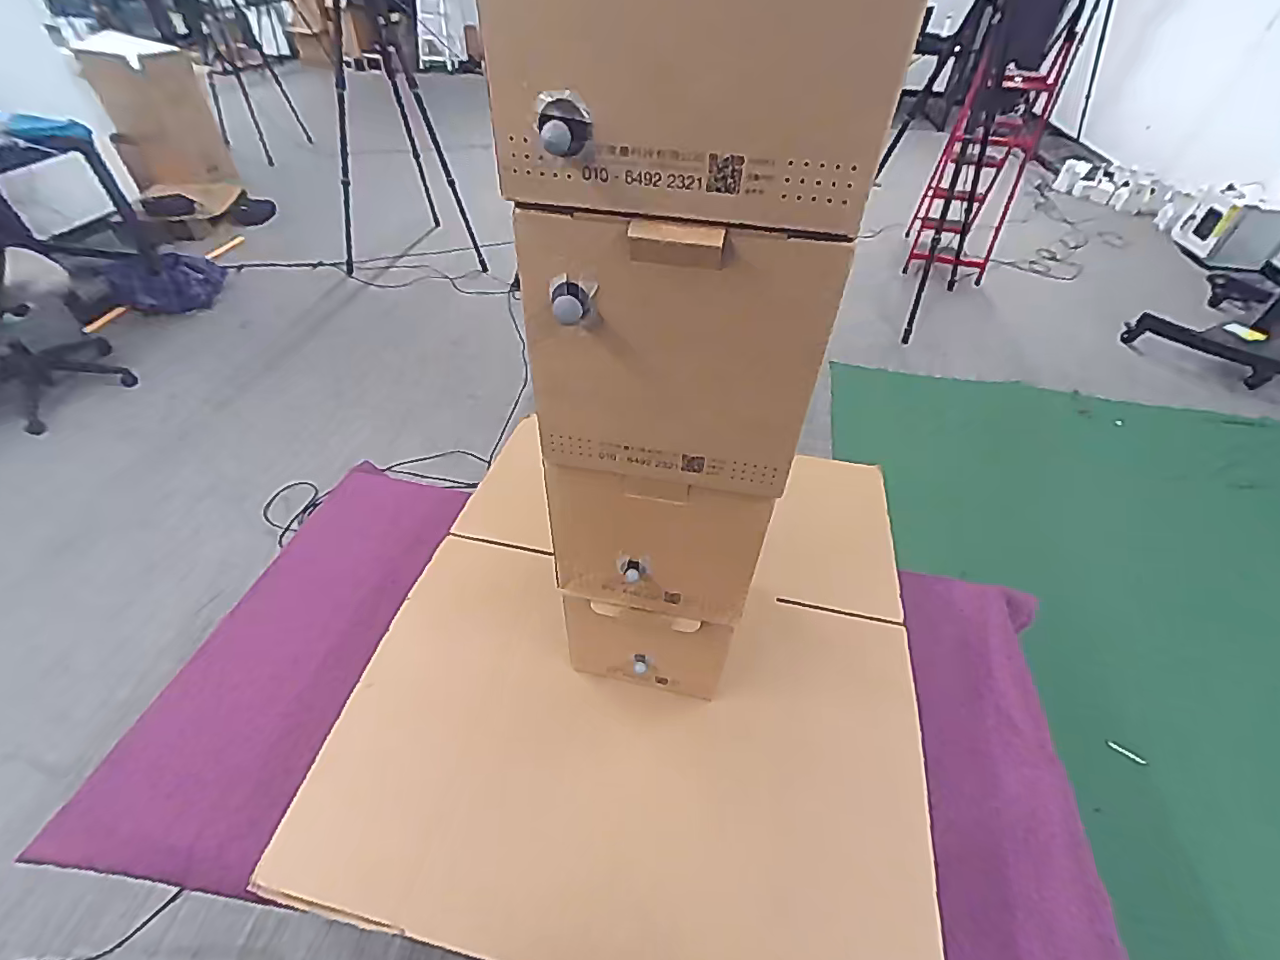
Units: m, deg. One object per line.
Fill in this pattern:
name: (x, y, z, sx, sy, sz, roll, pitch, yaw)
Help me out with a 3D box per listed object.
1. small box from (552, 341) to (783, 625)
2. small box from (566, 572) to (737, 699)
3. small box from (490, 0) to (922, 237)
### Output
small box: (0.028, 0.001, 0.489, 0.168, 0.176, 0.179, 9, 45, 7)
small box: (0.025, 0.113, 0.607, 0.168, 0.176, 0.179, 10, 45, 9)
small box: (0.036, -0.231, 0.254, 0.168, 0.176, 0.179, 9, 43, 7)
